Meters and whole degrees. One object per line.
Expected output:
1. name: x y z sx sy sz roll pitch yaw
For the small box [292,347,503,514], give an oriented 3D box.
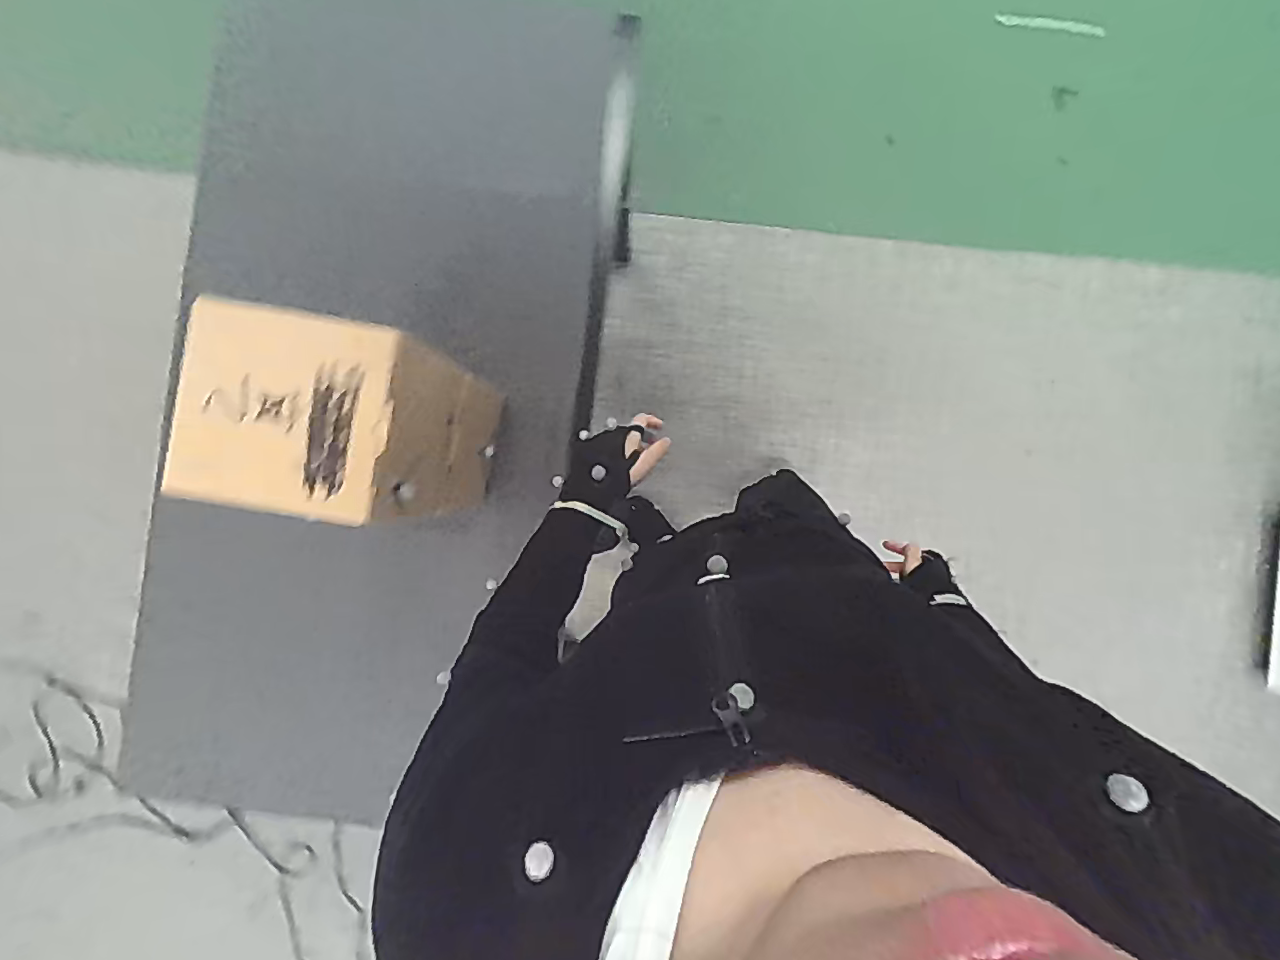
1. small box: -0.292 -0.055 0.688 0.179 0.176 0.168 11 90 0
